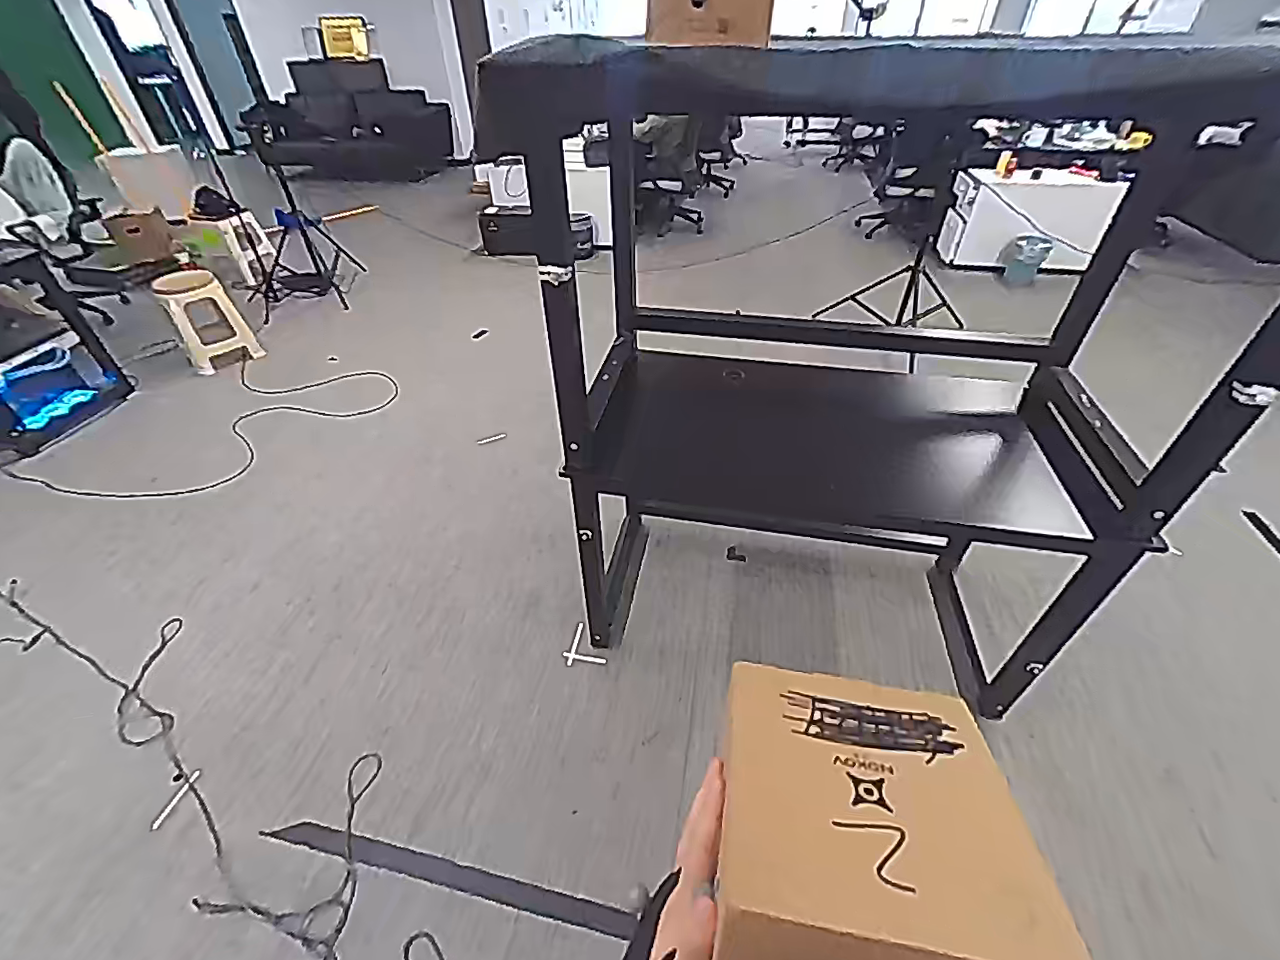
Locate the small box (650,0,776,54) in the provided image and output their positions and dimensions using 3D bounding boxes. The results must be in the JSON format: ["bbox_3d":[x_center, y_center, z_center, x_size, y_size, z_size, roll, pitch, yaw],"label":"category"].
[{"bbox_3d":[0.107,-0.692,0.733,0.168,0.176,0.179,7,40,7],"label":"small box"}]
